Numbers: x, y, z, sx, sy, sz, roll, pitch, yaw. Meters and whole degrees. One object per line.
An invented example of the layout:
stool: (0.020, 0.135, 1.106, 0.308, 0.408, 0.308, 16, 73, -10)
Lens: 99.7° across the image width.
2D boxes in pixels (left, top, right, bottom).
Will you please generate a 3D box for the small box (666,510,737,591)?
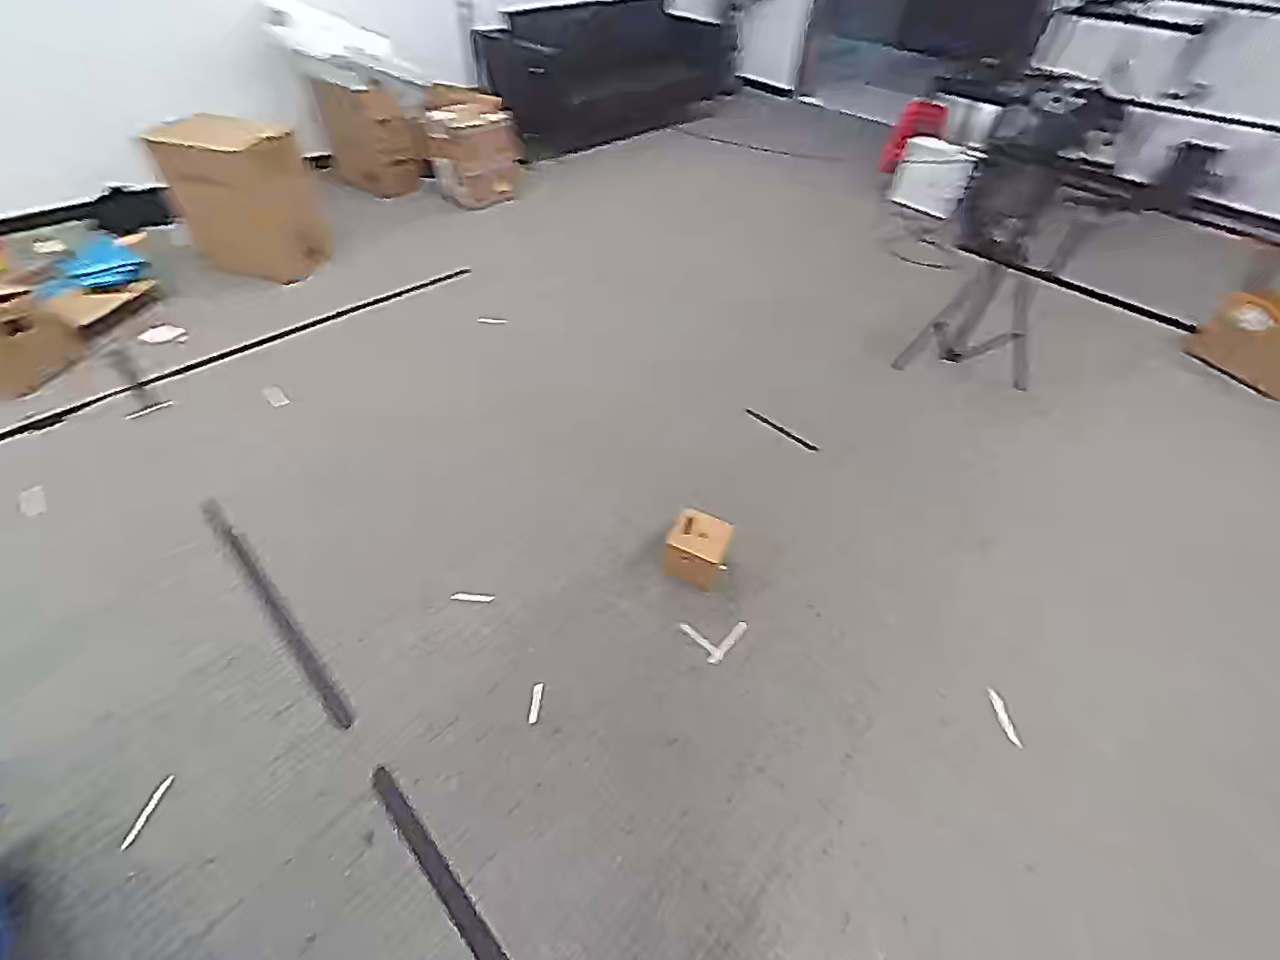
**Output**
small box: (0.196, 0.233, 1.765, 0.179, 0.176, 0.168, 22, 50, 15)
